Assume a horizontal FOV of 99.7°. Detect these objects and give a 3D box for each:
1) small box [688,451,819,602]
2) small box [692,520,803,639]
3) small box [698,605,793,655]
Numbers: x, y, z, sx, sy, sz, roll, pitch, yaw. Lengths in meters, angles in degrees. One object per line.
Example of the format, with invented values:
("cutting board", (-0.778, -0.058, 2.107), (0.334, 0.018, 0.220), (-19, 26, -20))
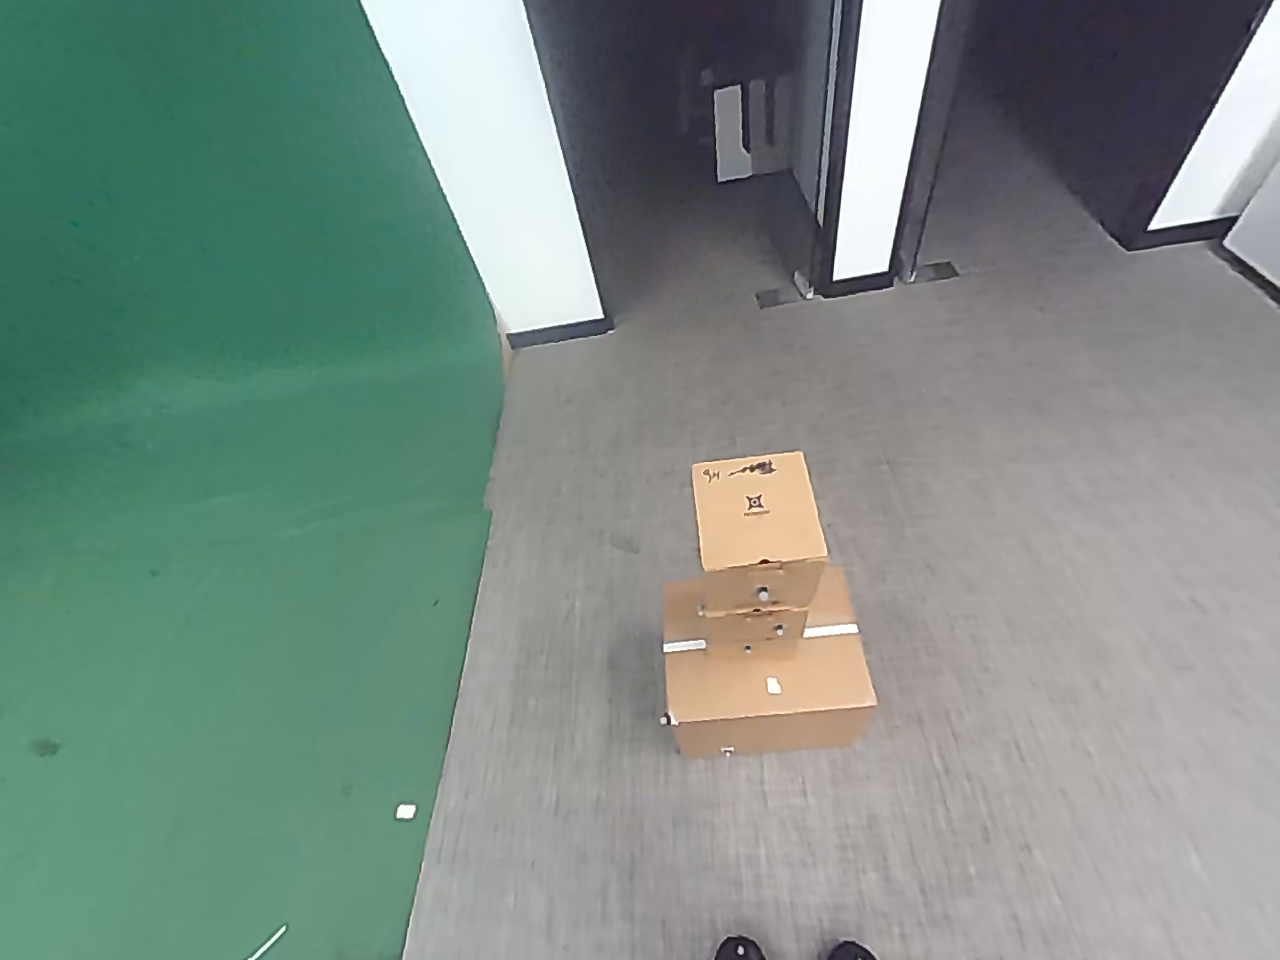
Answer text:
("small box", (0.167, 0.080, 0.830), (0.168, 0.176, 0.179), (-6, 57, 6))
("small box", (0.186, 0.175, 0.962), (0.168, 0.176, 0.179), (-7, 55, 5))
("small box", (0.211, 0.250, 1.101), (0.179, 0.176, 0.168), (-1, 55, 10))
